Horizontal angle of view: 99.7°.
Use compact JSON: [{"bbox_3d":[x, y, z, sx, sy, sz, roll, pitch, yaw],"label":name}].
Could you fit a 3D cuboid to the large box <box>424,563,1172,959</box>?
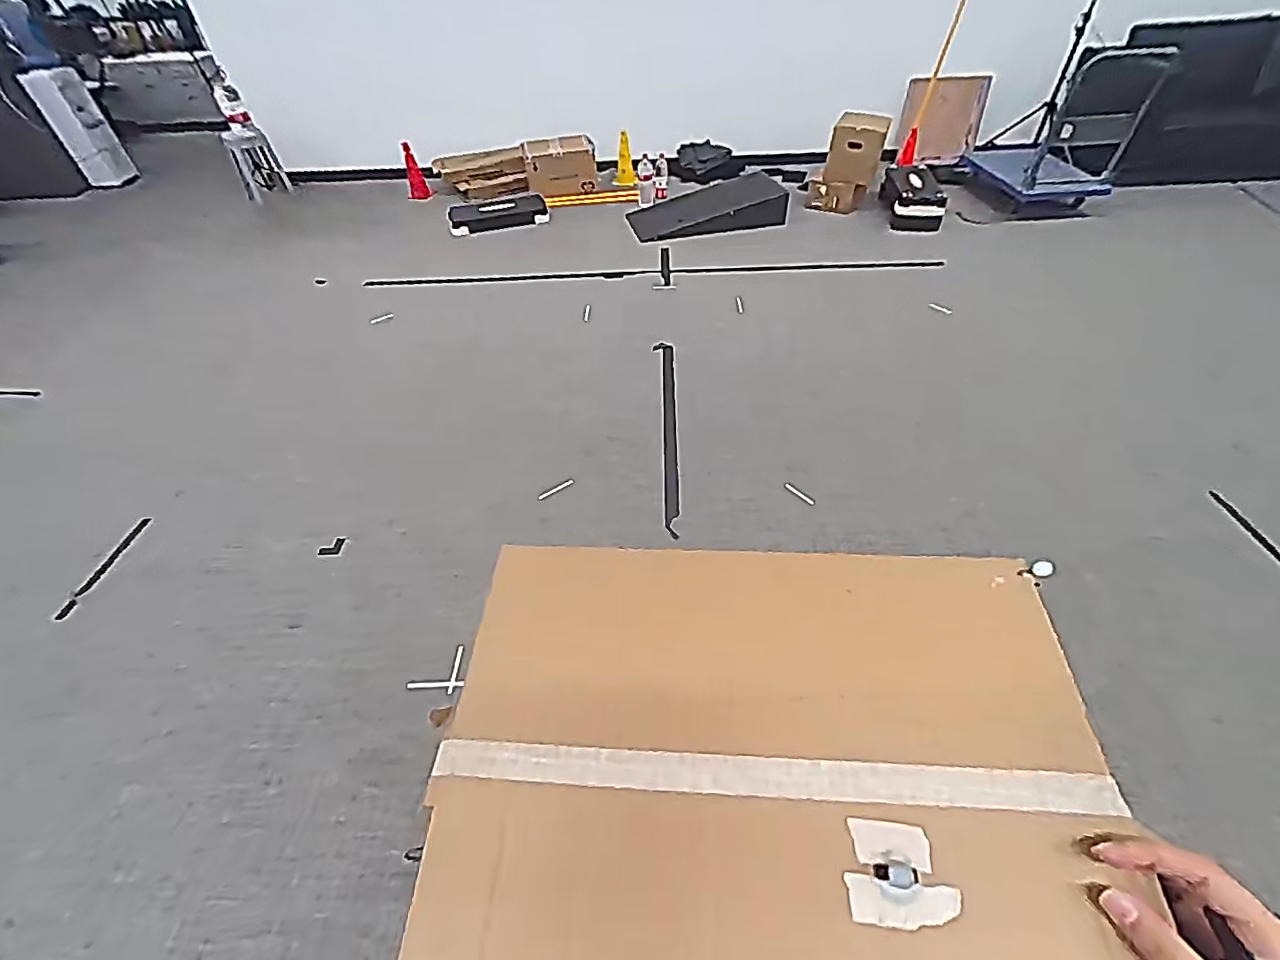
[{"bbox_3d":[0.088,0.281,0.456,0.408,0.320,0.320,1,54,4],"label":"large box"}]
